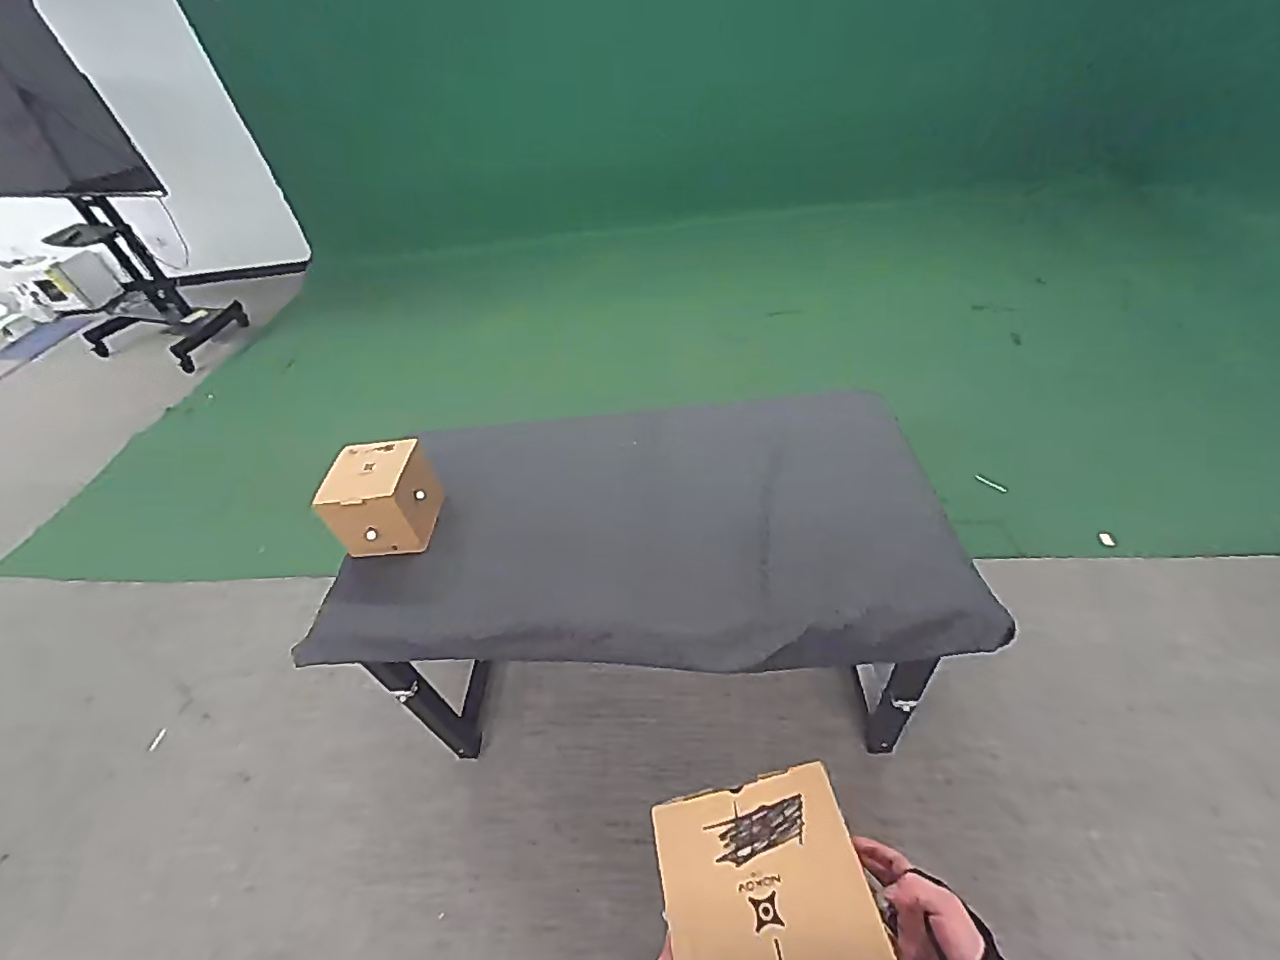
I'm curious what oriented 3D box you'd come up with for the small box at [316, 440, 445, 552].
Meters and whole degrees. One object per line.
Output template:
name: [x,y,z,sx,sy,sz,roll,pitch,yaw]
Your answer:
small box: [-0.535,0.040,1.148,0.168,0.176,0.179,-4,45,4]
